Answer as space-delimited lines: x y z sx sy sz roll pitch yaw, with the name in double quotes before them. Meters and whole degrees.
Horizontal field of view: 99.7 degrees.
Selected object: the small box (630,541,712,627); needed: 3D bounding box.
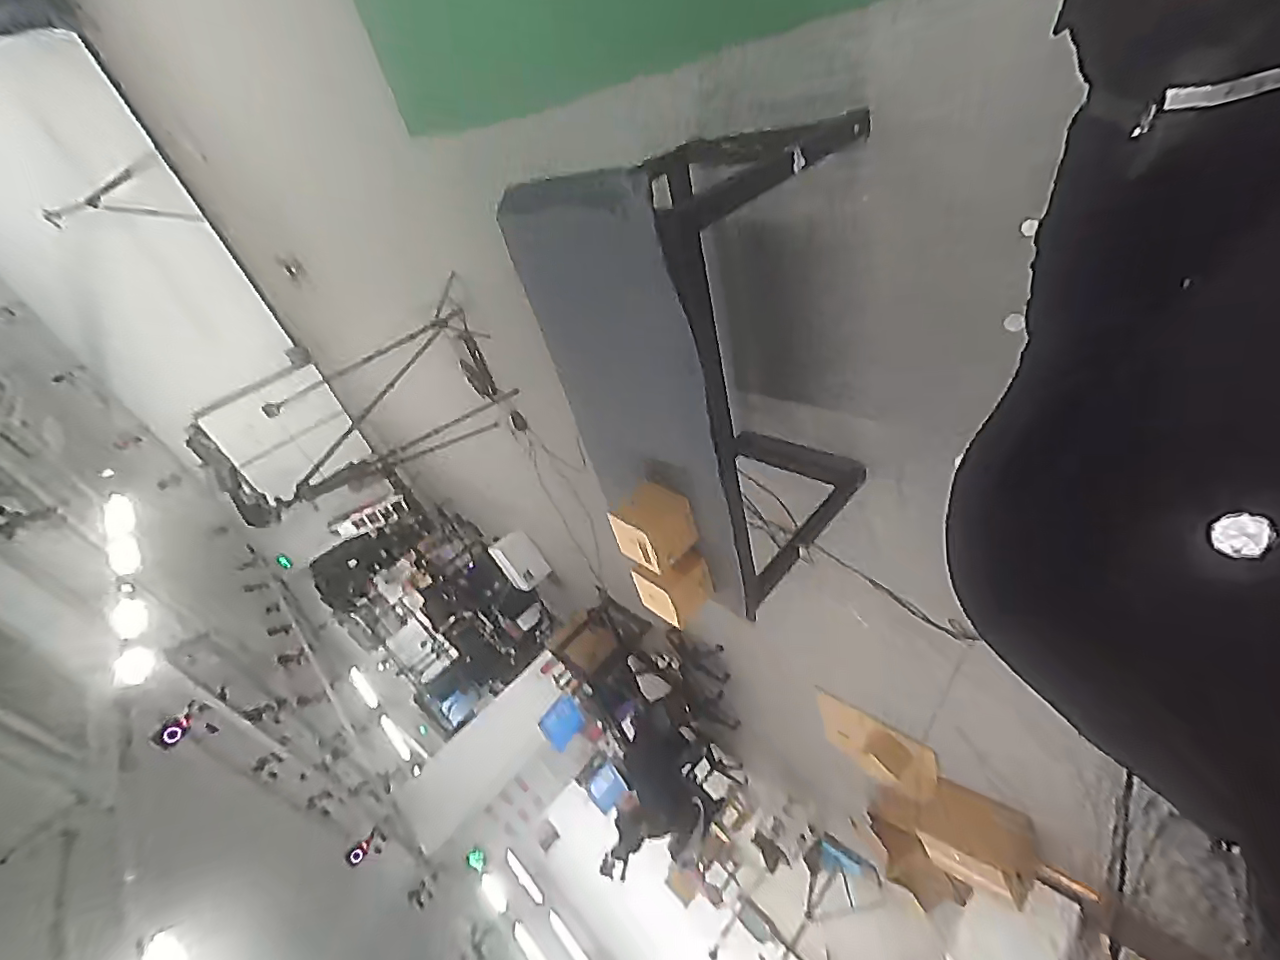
"small box" 0.100 0.317 1.694 0.179 0.176 0.168 23 142 44
